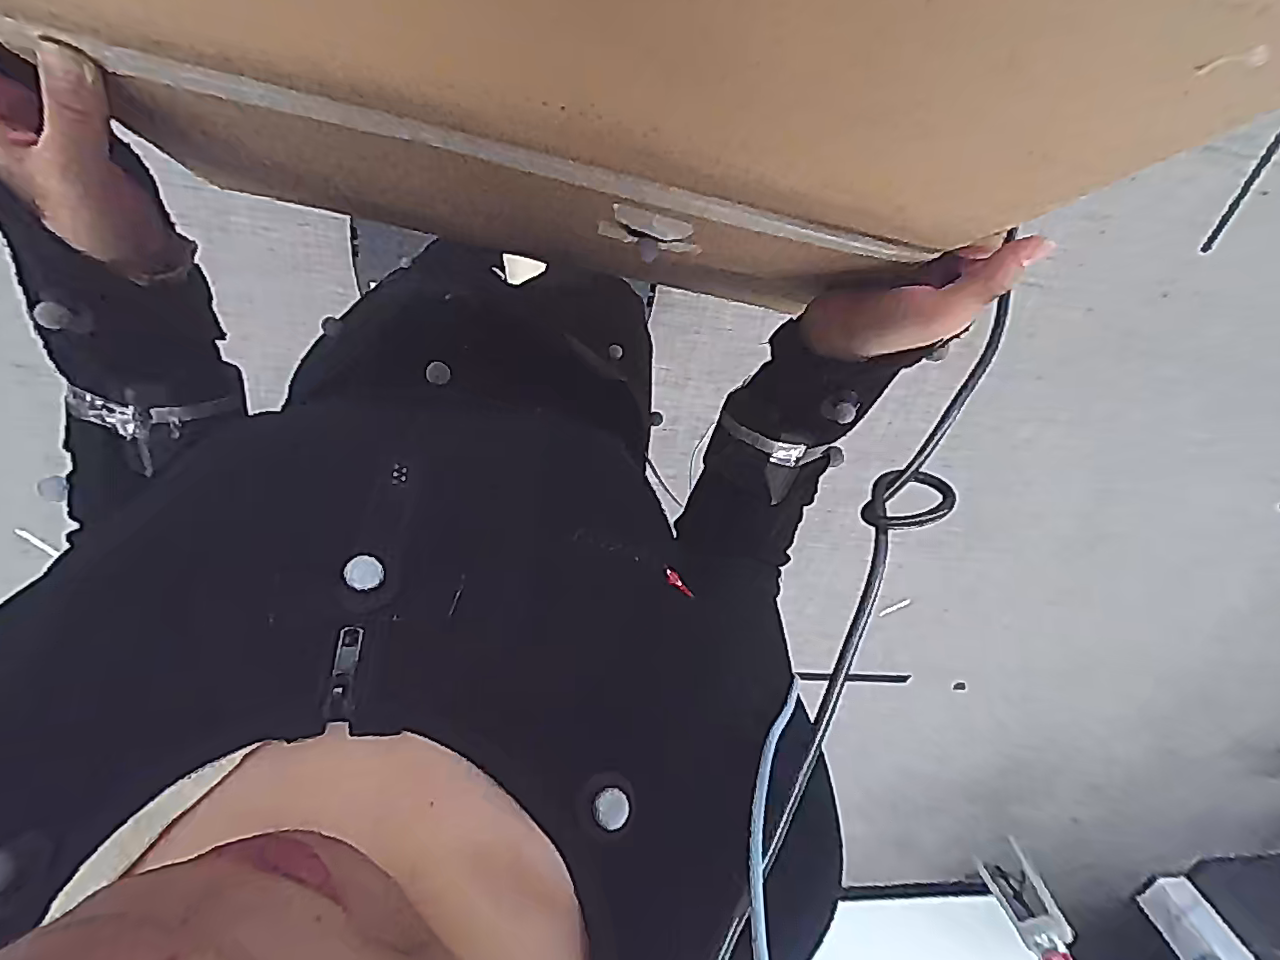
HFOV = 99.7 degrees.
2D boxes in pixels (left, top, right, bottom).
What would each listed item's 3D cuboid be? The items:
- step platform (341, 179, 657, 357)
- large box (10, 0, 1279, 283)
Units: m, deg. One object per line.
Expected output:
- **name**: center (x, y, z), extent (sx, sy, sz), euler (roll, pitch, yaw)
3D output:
- **step platform**: center (-0.307, -0.509, 1.256), extent (0.684, 0.204, 0.286), euler (12, 118, -12)
- **large box**: center (-0.012, -0.298, 0.188), extent (0.408, 0.320, 0.320), euler (8, 96, -9)
